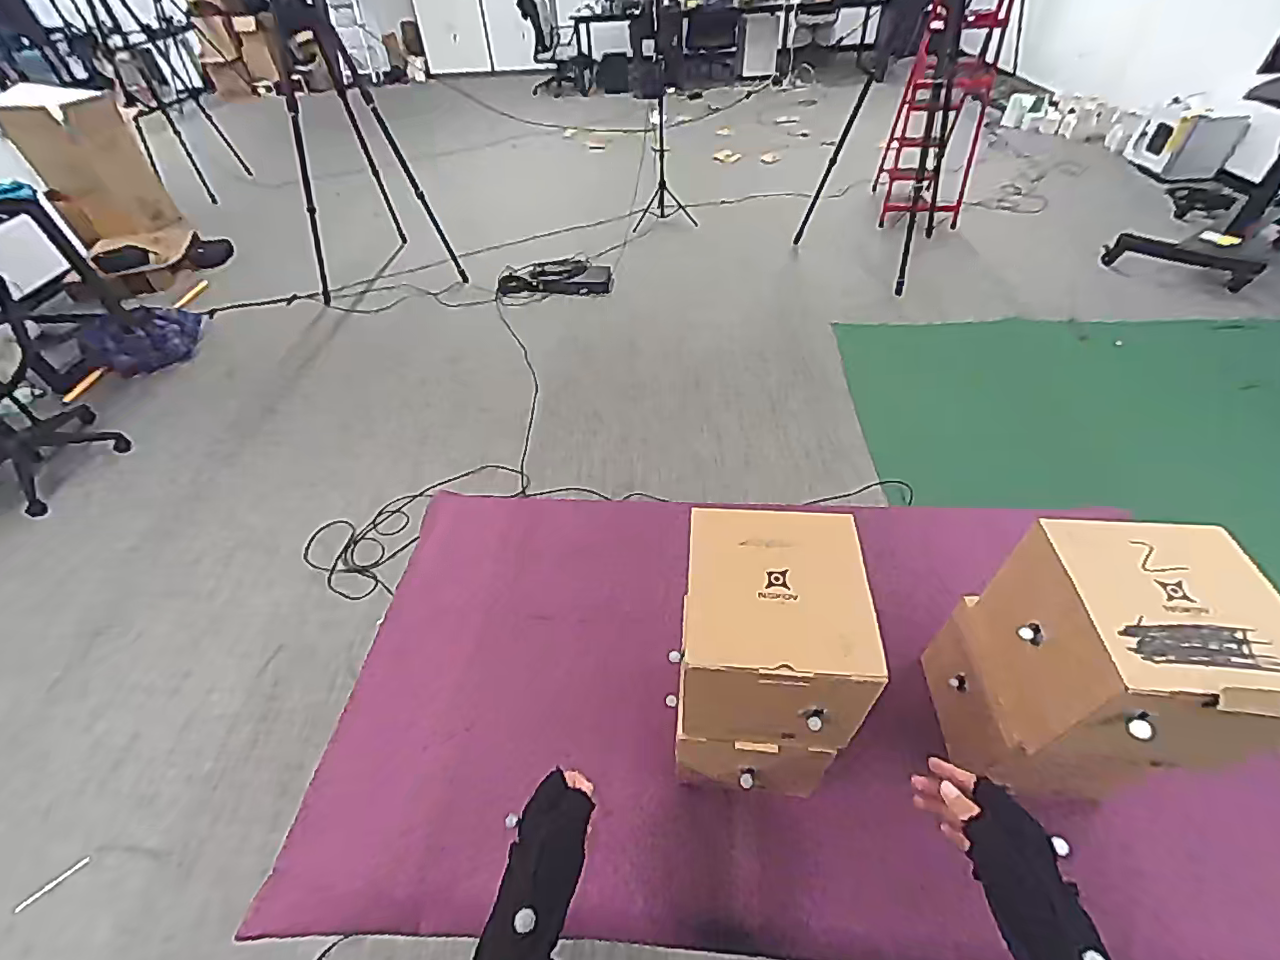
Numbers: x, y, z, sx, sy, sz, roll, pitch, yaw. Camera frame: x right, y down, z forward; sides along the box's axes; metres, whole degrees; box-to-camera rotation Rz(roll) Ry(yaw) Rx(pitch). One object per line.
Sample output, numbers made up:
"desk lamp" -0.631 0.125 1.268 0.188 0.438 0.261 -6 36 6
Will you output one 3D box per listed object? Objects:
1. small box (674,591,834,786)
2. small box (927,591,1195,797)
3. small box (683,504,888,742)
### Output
"small box" 0.131 0.259 0.668 0.168 0.176 0.179 3 48 6
"small box" 0.472 0.258 0.646 0.168 0.176 0.179 5 48 6
"small box" 0.131 0.147 0.550 0.168 0.176 0.179 3 47 6
